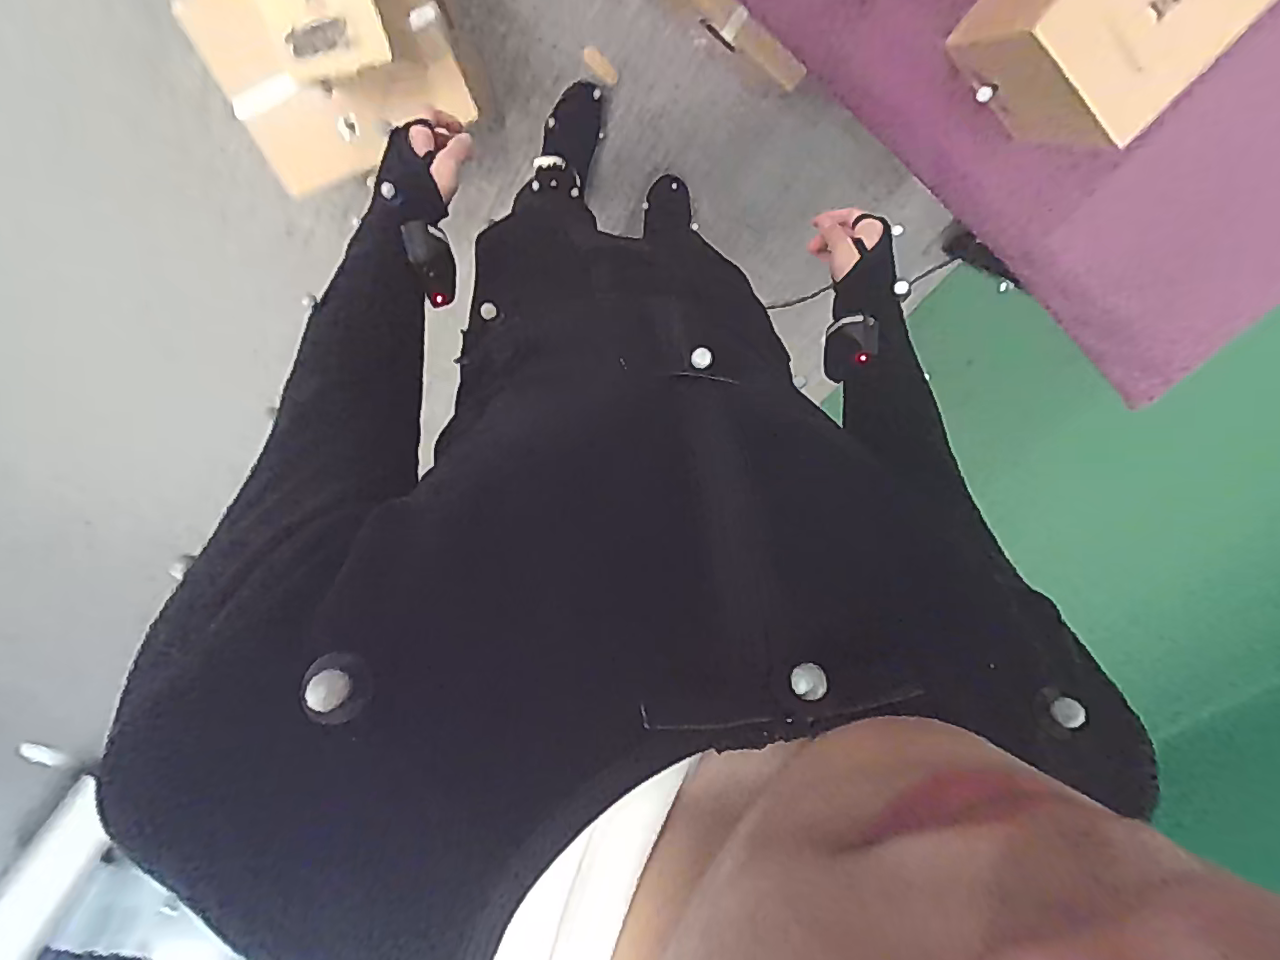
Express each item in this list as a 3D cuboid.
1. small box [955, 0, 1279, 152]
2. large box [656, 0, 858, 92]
[{"bbox_3d":[0.467,-0.467,0.538,0.168,0.176,0.179,31,118,-21],"label":"small box"},{"bbox_3d":[0.263,-0.997,0.964,0.320,0.320,0.408,28,118,-21],"label":"large box"}]
